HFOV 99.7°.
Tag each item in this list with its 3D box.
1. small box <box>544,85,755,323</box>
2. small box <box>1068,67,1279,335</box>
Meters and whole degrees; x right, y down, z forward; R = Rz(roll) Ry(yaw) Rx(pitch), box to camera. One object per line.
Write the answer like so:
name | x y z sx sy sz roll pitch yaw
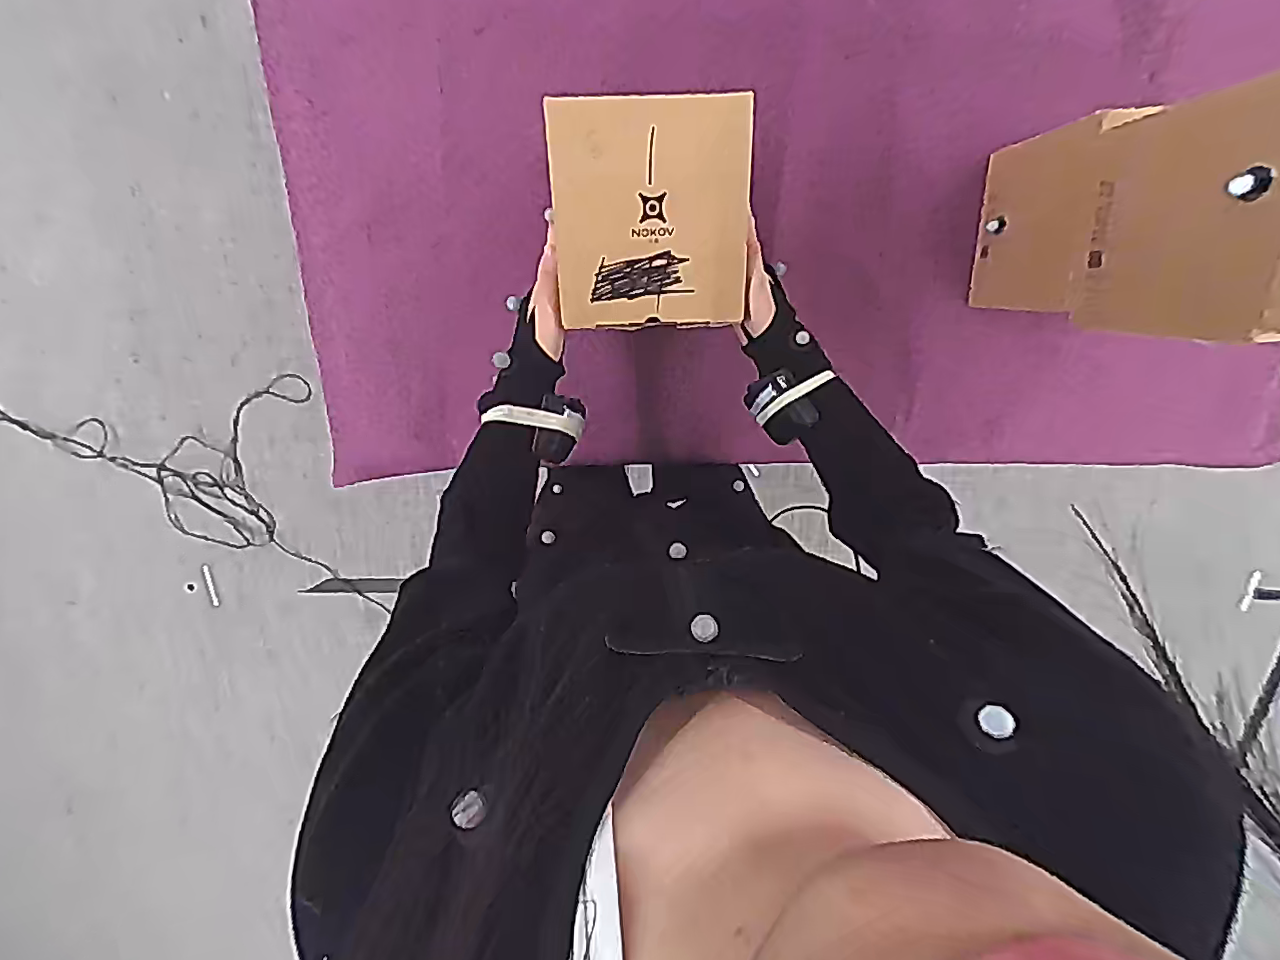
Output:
small box | 0.007 -0.253 0.519 0.168 0.176 0.179 -2 113 -1
small box | 0.482 -0.206 0.406 0.179 0.176 0.168 -5 109 2
